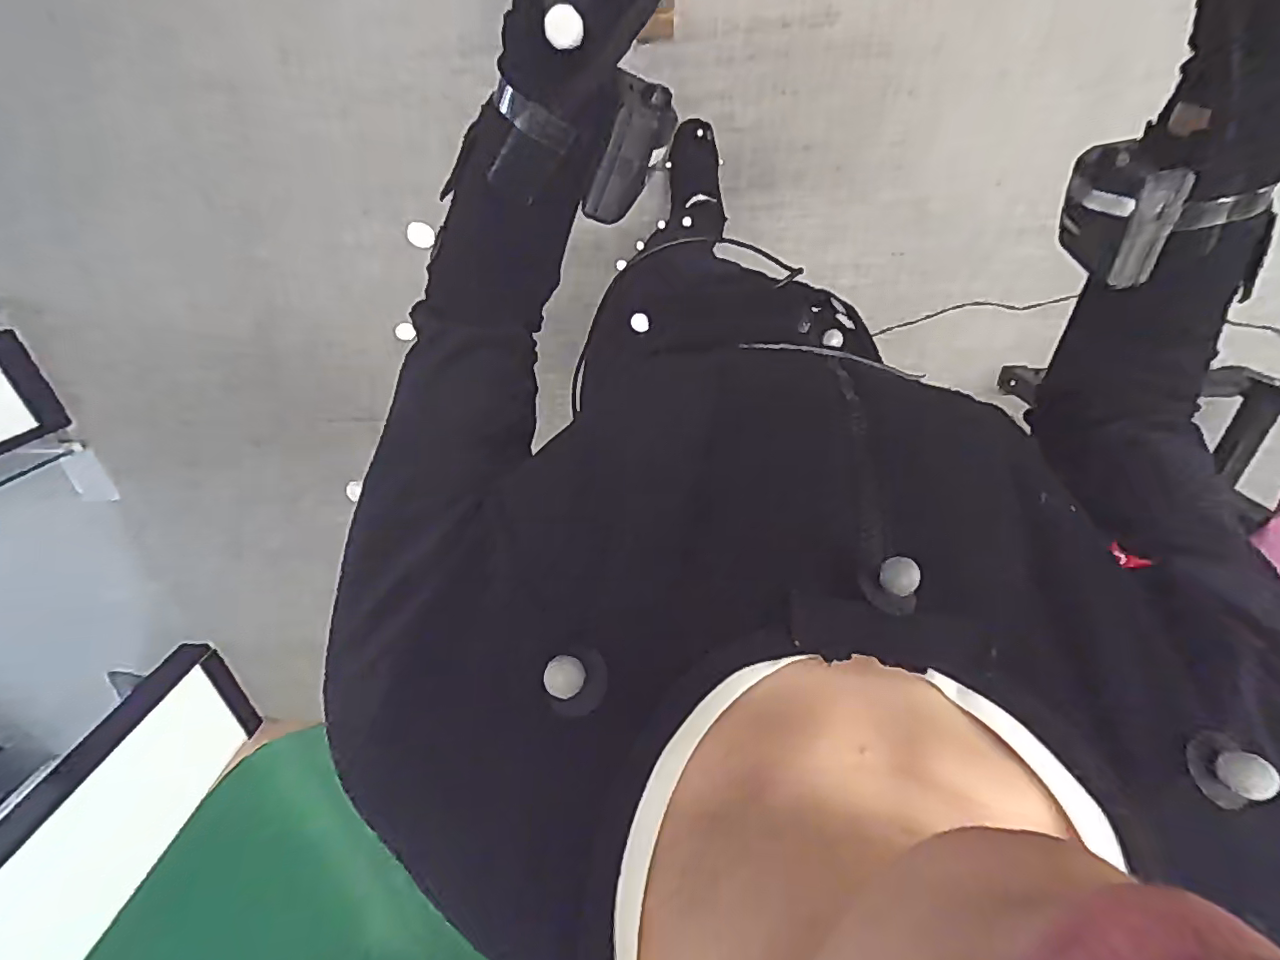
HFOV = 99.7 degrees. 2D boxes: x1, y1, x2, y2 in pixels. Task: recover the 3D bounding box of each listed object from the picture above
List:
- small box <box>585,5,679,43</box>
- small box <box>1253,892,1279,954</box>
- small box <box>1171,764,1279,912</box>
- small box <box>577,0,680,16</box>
[{"bbox_3d":[-0.012,-0.915,0.970,0.168,0.176,0.179,0,121,4],"label":"small box"},{"bbox_3d":[1.102,0.708,0.802,0.168,0.176,0.179,3,120,2],"label":"small box"},{"bbox_3d":[1.110,0.621,0.938,0.179,0.176,0.168,5,119,2],"label":"small box"},{"bbox_3d":[-0.022,-0.838,0.825,0.168,0.176,0.179,-1,119,5],"label":"small box"}]
